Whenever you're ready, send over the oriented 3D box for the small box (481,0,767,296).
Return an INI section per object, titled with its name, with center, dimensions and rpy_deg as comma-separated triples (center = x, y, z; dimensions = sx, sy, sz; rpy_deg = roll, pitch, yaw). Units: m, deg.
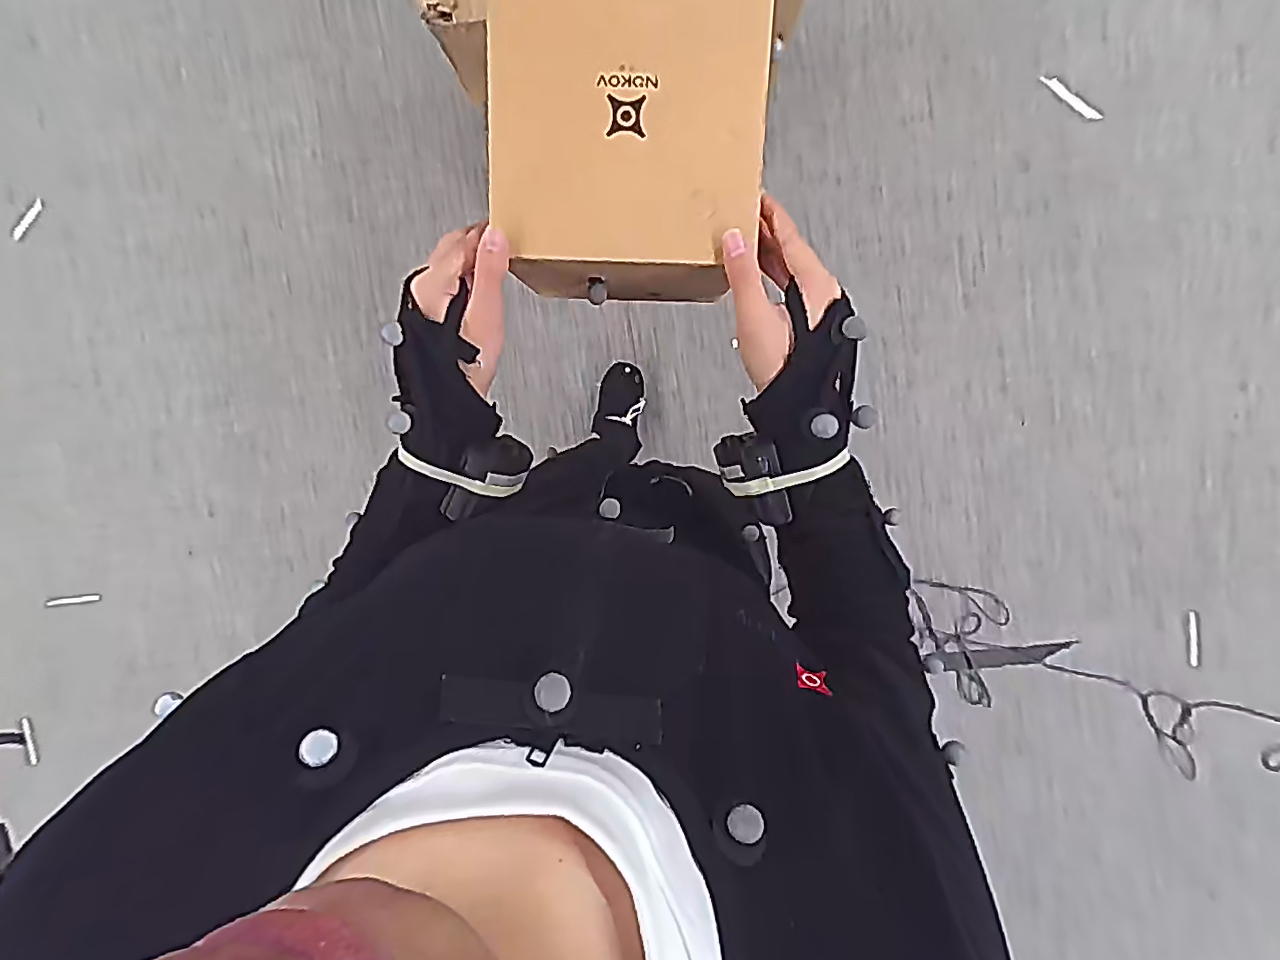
[small box]
center = -0.009, -0.237, 0.394
dimensions = 0.168, 0.176, 0.179
rpy_deg = 2, 99, 0
